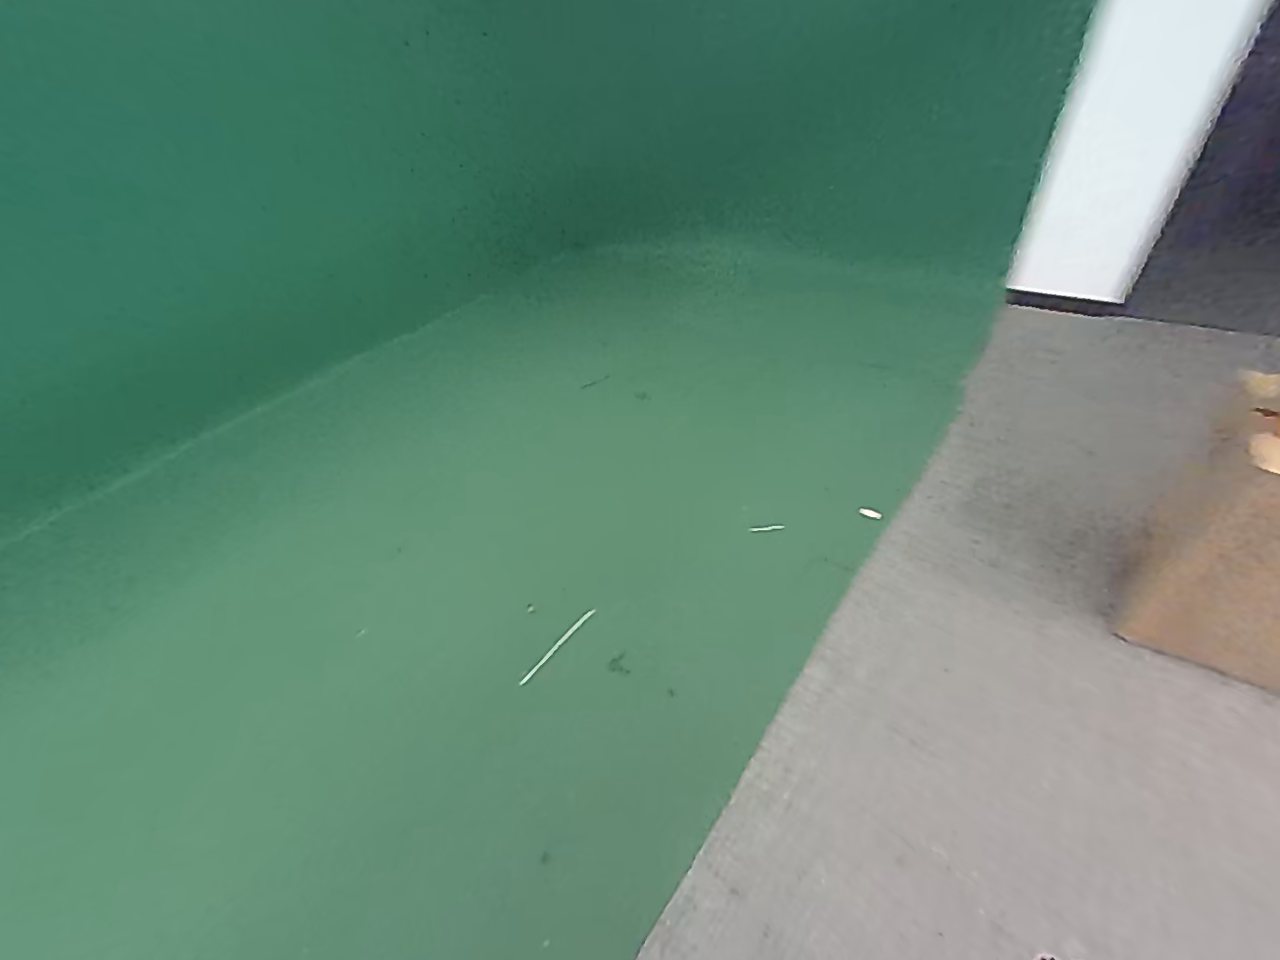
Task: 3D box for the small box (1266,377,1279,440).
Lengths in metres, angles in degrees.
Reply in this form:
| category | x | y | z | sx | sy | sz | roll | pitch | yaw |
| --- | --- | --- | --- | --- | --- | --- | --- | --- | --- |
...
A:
| category | x | y | z | sx | sy | sz | roll | pitch | yaw |
| --- | --- | --- | --- | --- | --- | --- | --- | --- | --- |
| small box | 1.425 | -0.168 | 1.085 | 0.179 | 0.176 | 0.168 | 18 | 54 | 26 |
